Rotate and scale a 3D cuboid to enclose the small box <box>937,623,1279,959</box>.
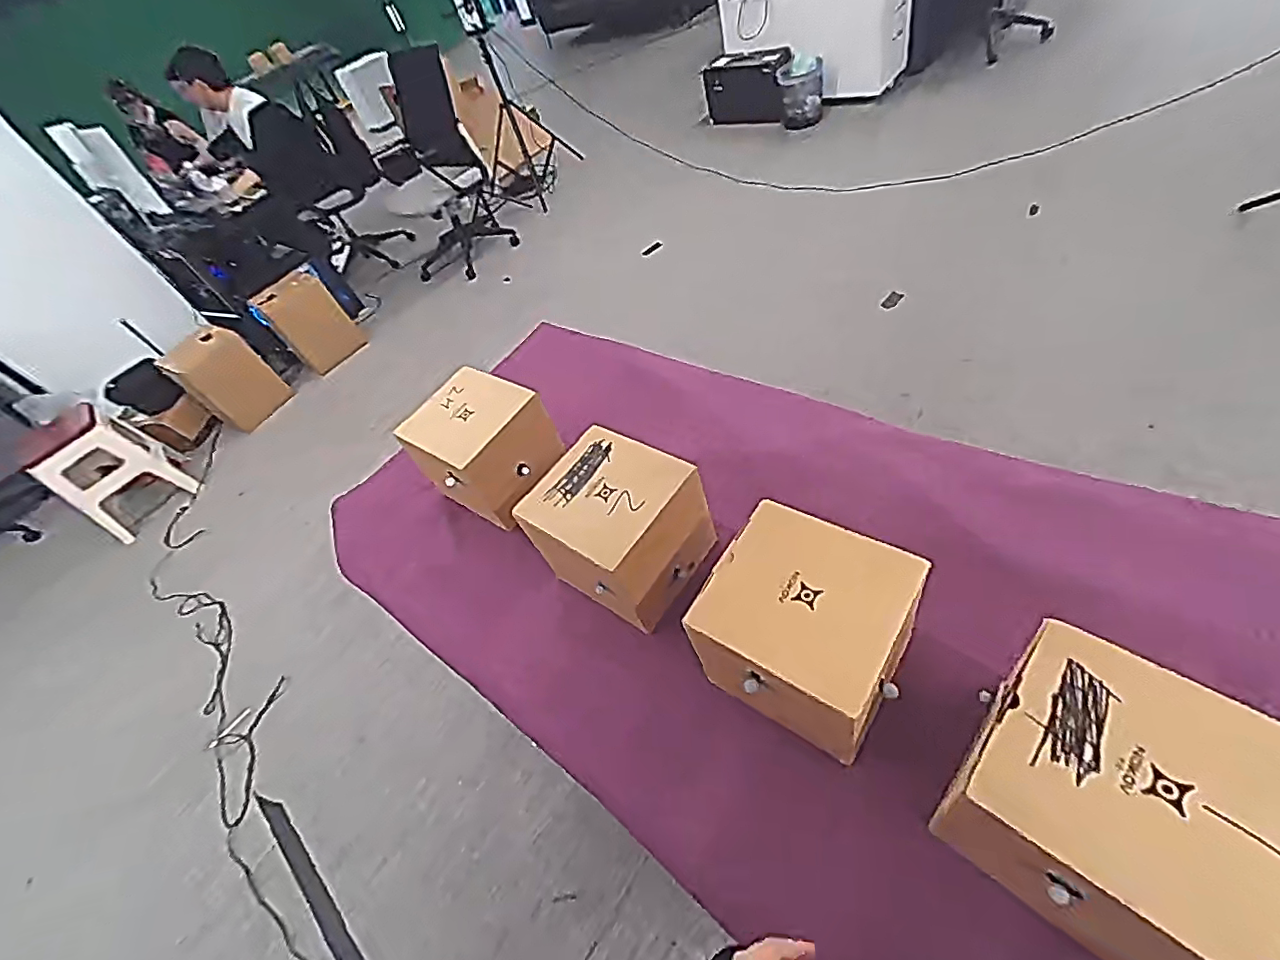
[{"bbox_3d":[0.360,0.253,0.421,0.179,0.176,0.168,29,64,36],"label":"small box"}]

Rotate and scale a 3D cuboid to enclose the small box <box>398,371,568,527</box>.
[{"bbox_3d":[-0.247,-0.047,0.891,0.179,0.176,0.168,23,62,31],"label":"small box"}]

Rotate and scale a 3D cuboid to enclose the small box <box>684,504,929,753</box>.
[{"bbox_3d":[0.176,0.160,0.572,0.179,0.176,0.168,22,62,34],"label":"small box"}]
